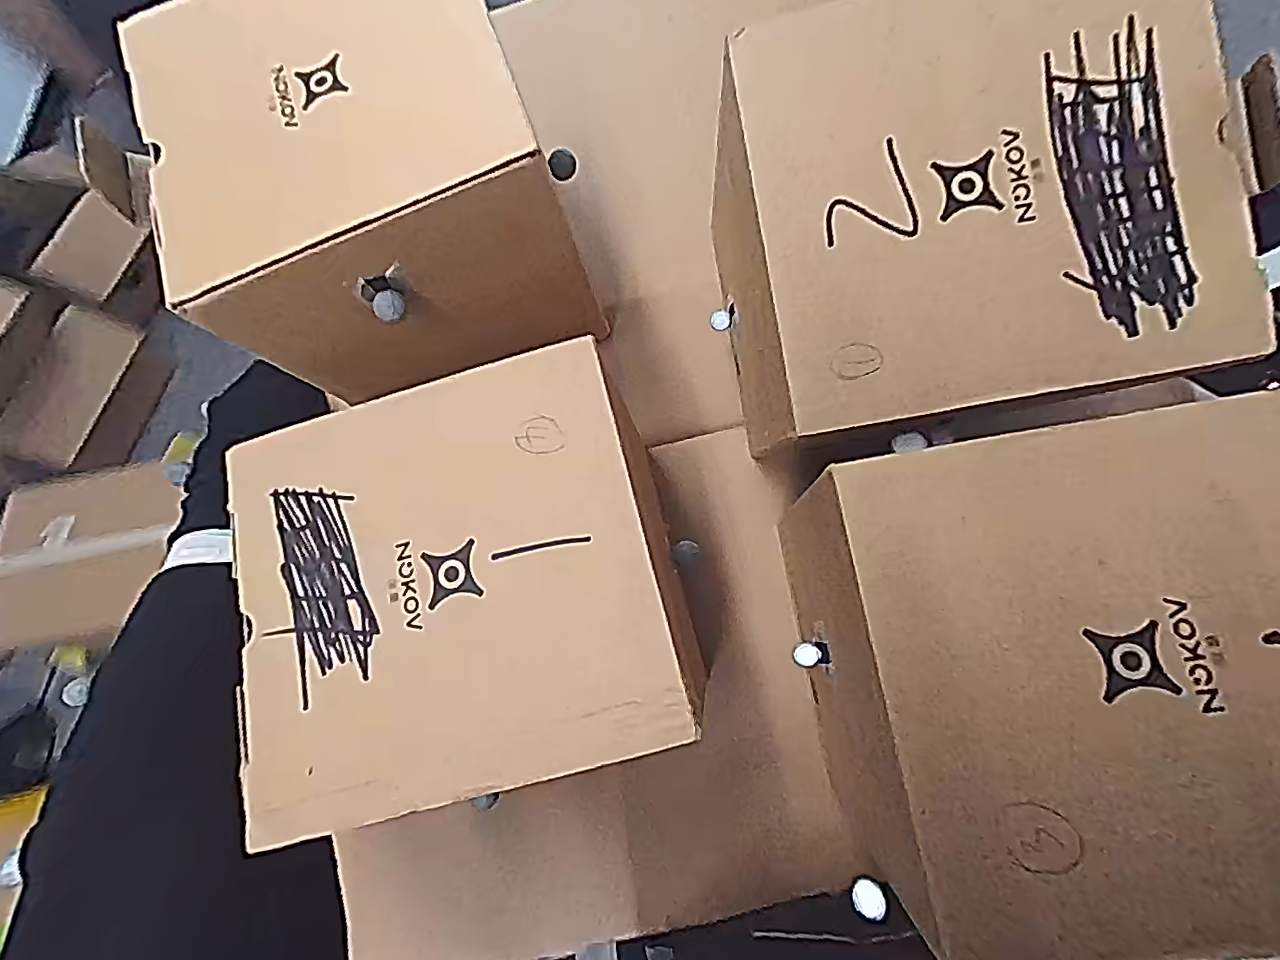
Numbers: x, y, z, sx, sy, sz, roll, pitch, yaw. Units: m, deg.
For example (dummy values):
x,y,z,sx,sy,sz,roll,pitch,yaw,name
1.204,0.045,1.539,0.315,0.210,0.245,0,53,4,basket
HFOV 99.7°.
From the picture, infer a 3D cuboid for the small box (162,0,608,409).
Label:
x,y,z,sx,sy,sz,roll,pitch,yaw,name
-0.128,-0.166,0.332,0.179,0.176,0.168,-20,76,5,small box
